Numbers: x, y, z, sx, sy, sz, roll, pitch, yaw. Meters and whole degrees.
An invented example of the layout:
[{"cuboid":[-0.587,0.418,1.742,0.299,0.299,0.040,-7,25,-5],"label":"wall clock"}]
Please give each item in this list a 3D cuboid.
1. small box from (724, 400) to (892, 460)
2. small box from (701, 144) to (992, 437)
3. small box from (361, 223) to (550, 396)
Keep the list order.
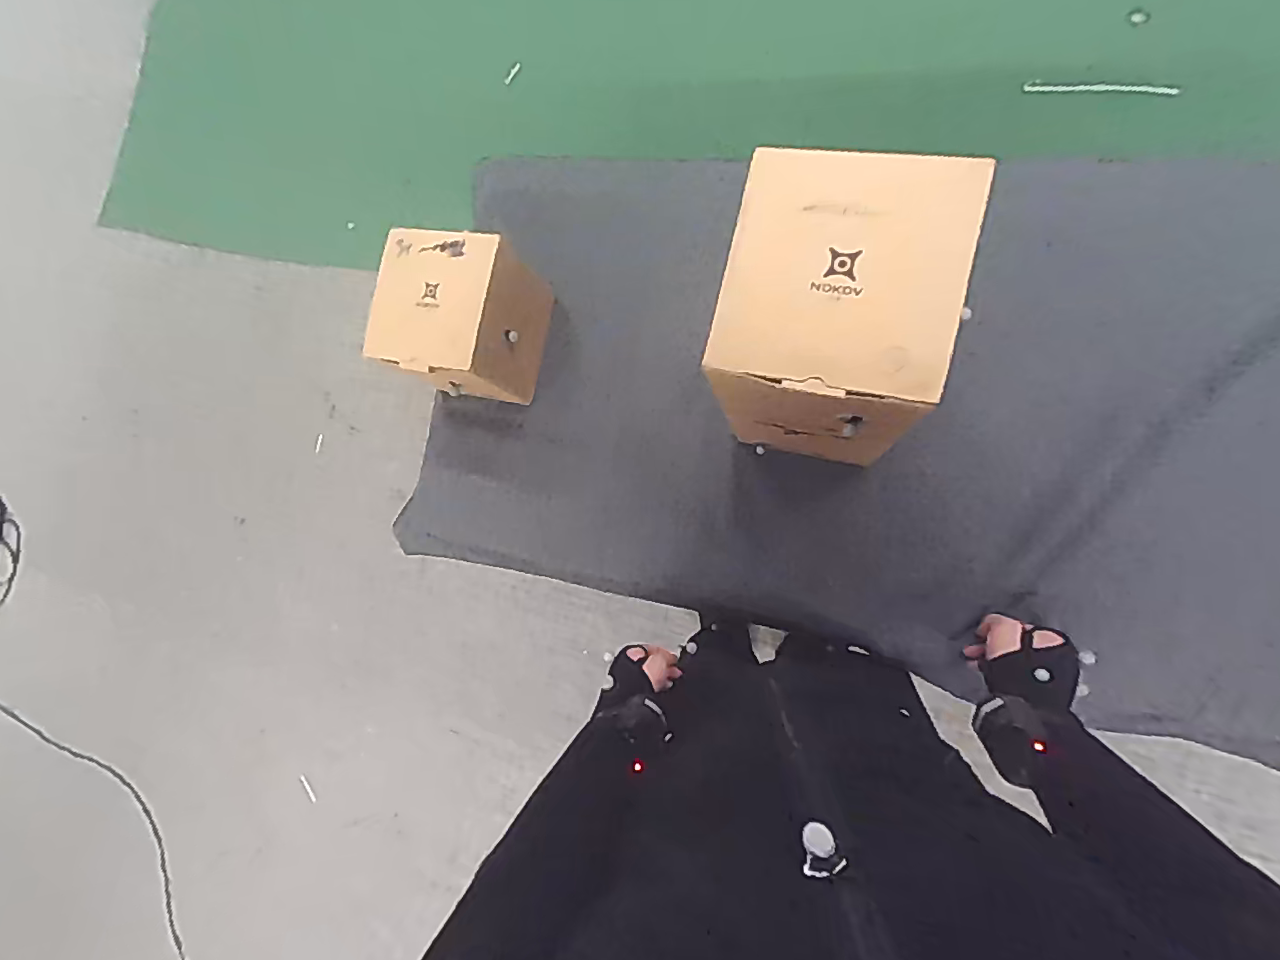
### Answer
[{"cuboid":[0.203,-0.127,0.611,0.168,0.176,0.179,13,88,16],"label":"small box"},{"cuboid":[0.160,-0.142,0.456,0.168,0.176,0.179,13,88,15],"label":"small box"},{"cuboid":[-0.241,-0.222,0.743,0.168,0.176,0.179,11,89,15],"label":"small box"}]
